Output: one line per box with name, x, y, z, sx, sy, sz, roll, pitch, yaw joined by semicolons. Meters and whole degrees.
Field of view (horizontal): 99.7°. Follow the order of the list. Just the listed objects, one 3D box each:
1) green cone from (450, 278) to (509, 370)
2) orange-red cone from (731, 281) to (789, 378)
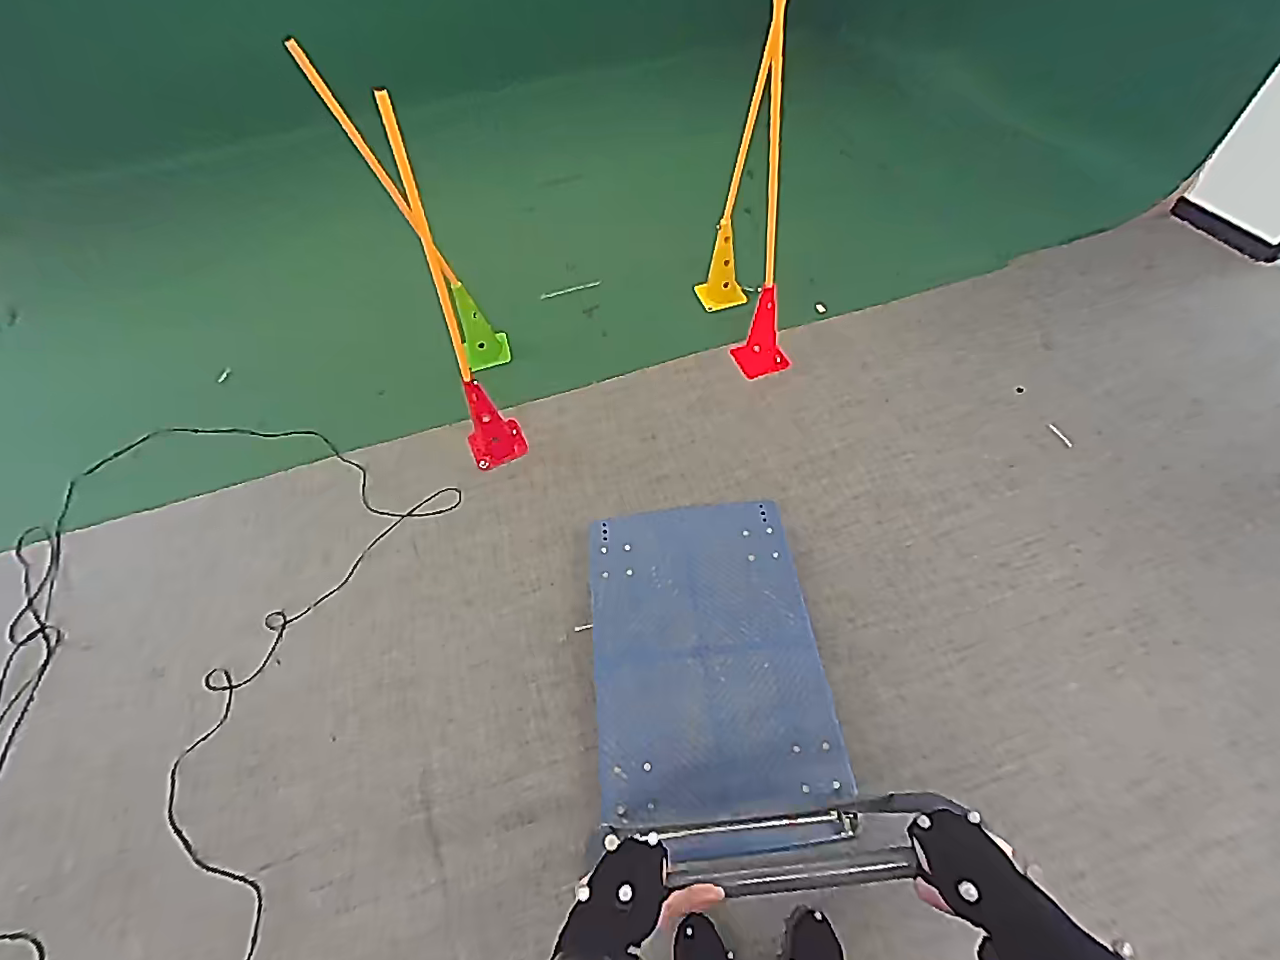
green cone;-0.699;-0.669;2.245;0.200;0.368;0.202;-17;54;-6
orange-red cone;0.479;-0.604;2.094;0.198;0.360;0.199;-16;53;-7
